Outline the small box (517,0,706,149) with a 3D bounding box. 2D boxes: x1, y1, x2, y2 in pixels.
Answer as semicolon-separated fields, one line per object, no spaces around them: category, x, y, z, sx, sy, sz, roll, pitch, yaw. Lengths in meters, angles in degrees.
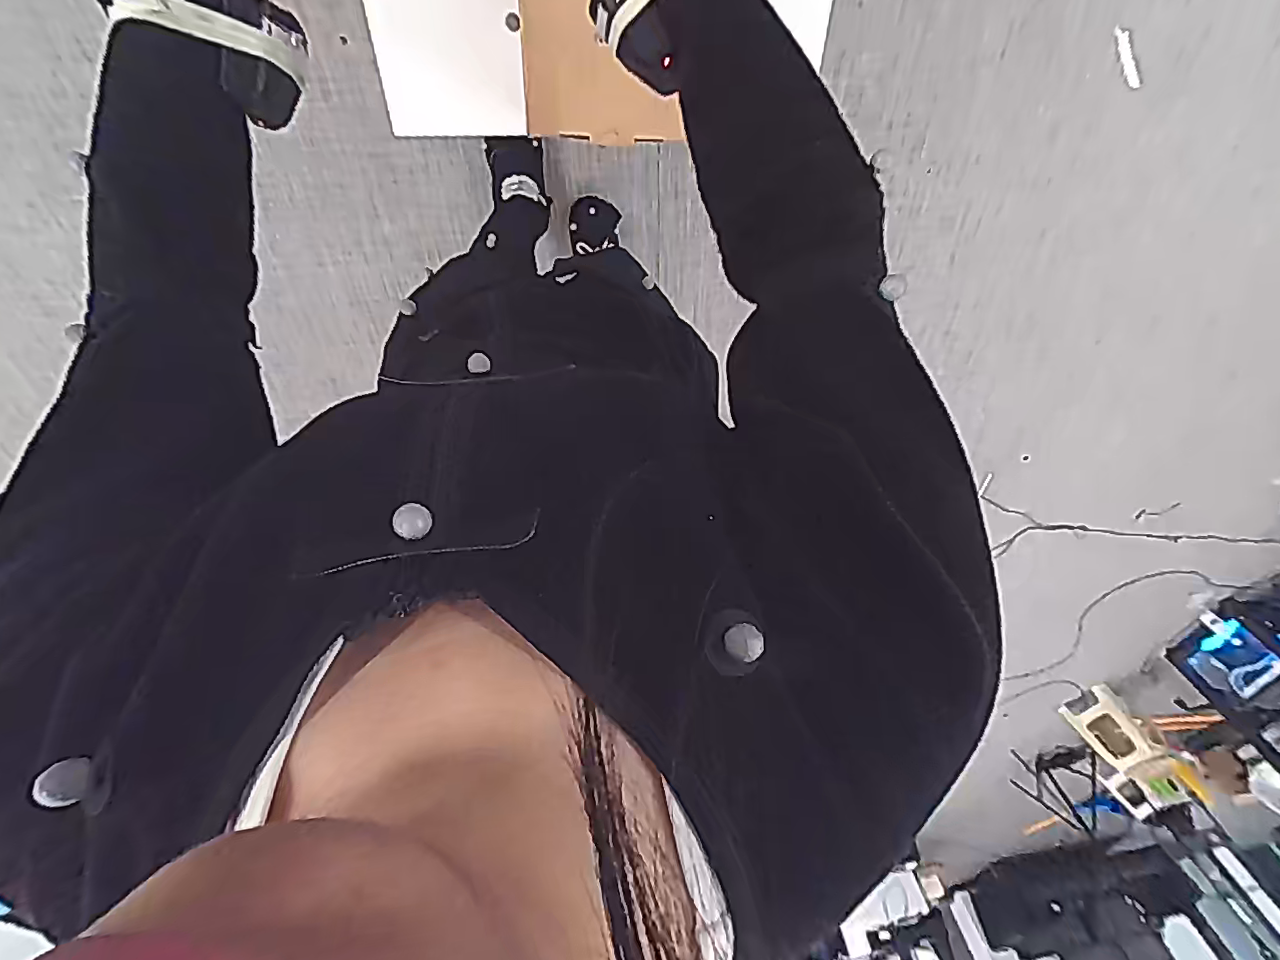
small box;-0.035;-0.449;0.539;0.168;0.176;0.179;-3;130;-9
